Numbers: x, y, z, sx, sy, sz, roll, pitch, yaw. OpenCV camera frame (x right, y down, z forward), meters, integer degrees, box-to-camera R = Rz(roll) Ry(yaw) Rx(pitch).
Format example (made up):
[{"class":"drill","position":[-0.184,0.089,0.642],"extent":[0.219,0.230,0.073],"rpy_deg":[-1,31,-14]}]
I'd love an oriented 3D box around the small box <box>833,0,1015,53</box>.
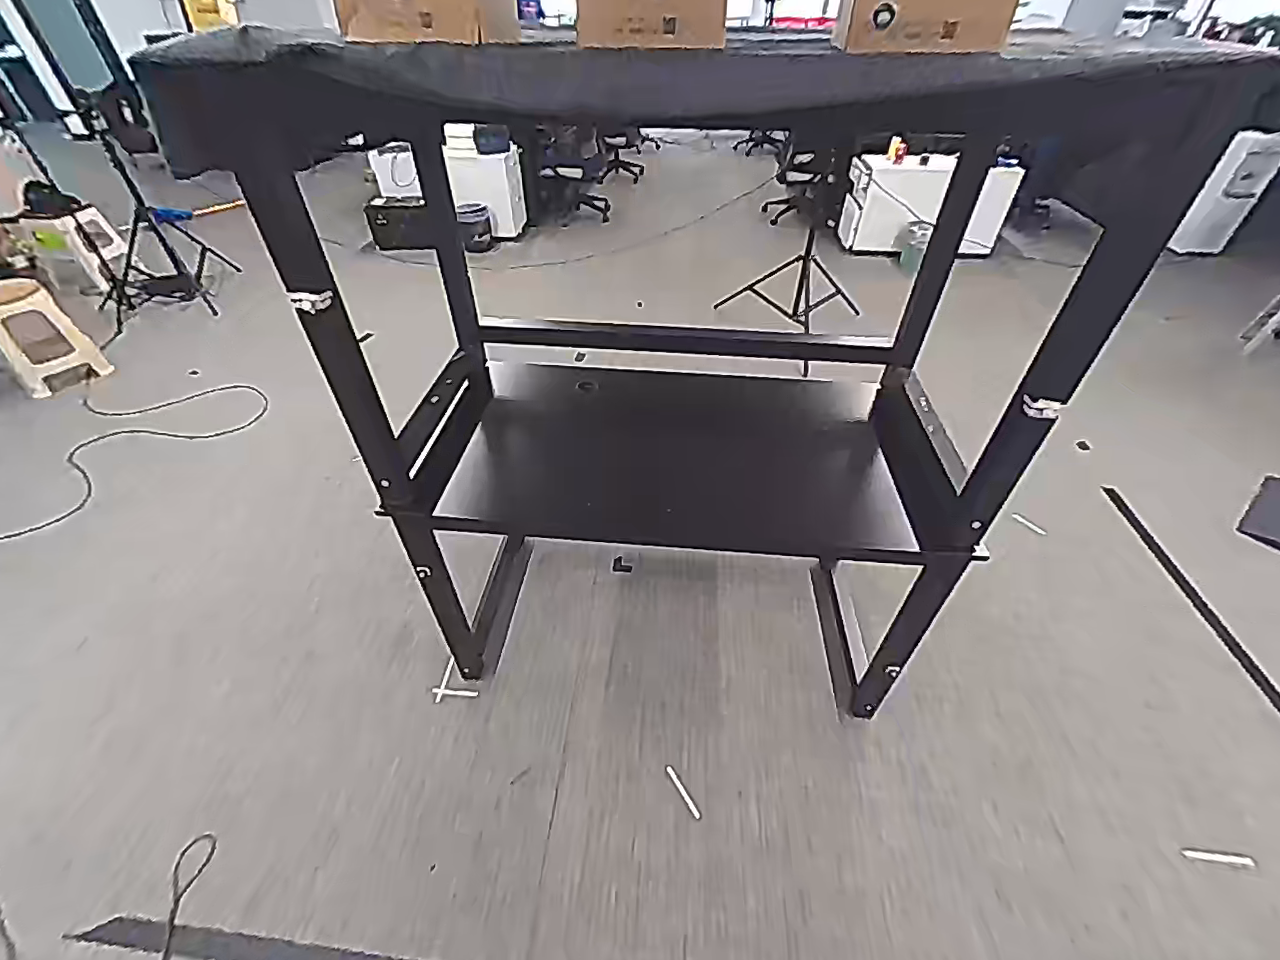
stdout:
[{"class":"small box","position":[0.321,-0.582,0.597],"extent":[0.168,0.176,0.179],"rpy_deg":[6,40,7]}]

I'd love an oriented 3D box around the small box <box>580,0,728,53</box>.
[{"class":"small box","position":[0.022,-0.599,0.614],"extent":[0.168,0.176,0.179],"rpy_deg":[4,40,5]}]

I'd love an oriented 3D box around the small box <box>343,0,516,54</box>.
[{"class":"small box","position":[-0.249,-0.615,0.633],"extent":[0.168,0.176,0.179],"rpy_deg":[4,41,2]}]
